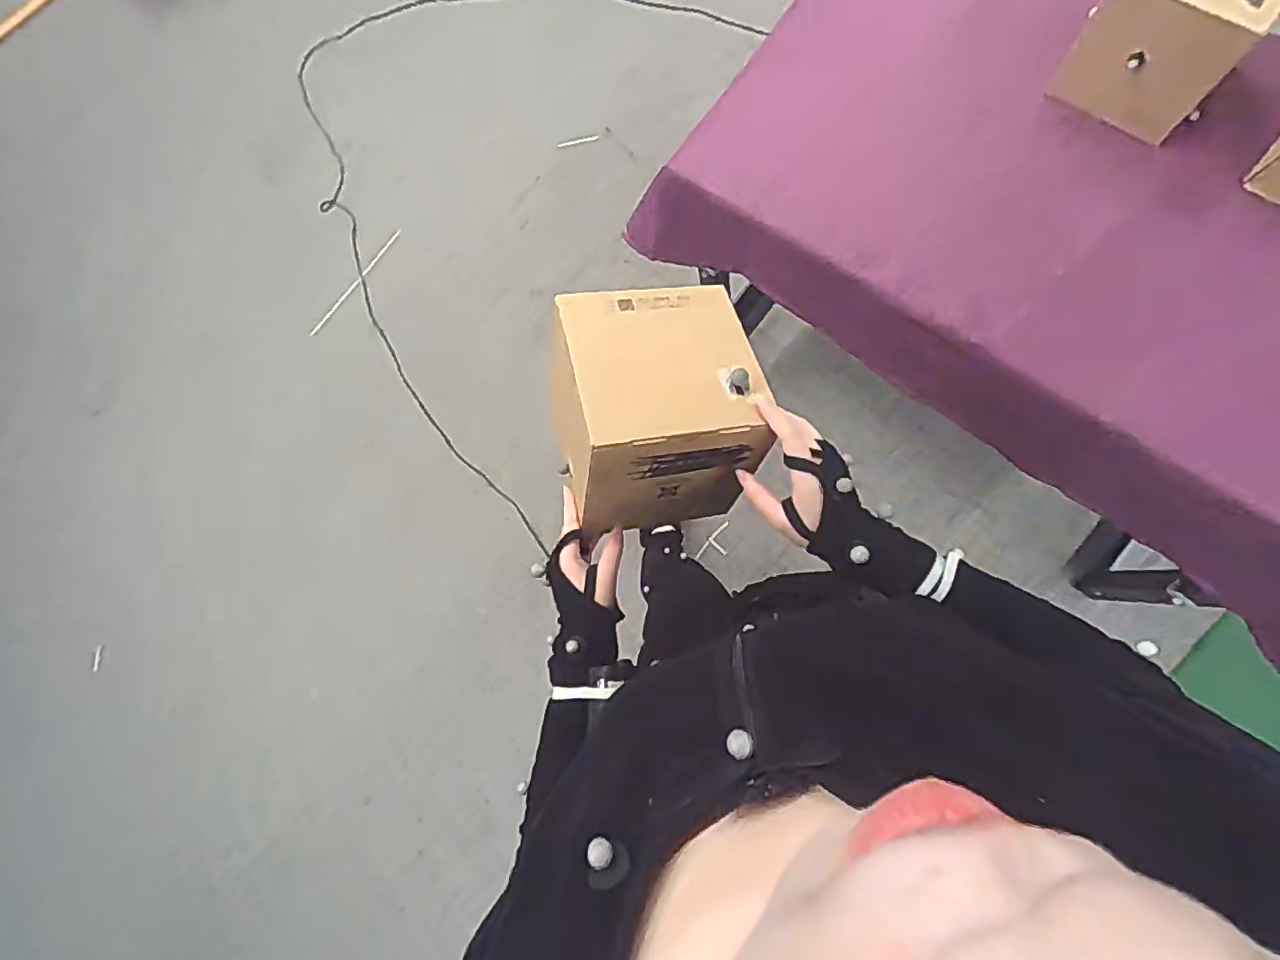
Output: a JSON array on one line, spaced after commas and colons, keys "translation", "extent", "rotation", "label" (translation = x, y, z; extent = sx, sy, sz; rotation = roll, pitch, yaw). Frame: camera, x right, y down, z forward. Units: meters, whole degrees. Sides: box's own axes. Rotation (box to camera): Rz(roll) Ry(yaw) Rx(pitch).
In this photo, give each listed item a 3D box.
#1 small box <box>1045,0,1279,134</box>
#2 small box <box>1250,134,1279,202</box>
[{"translation": [0.697, -0.602, 0.708], "extent": [0.179, 0.176, 0.168], "rotation": [40, 90, 16], "label": "small box"}, {"translation": [0.912, -0.434, 0.637], "extent": [0.168, 0.176, 0.179], "rotation": [38, 91, 15], "label": "small box"}]
